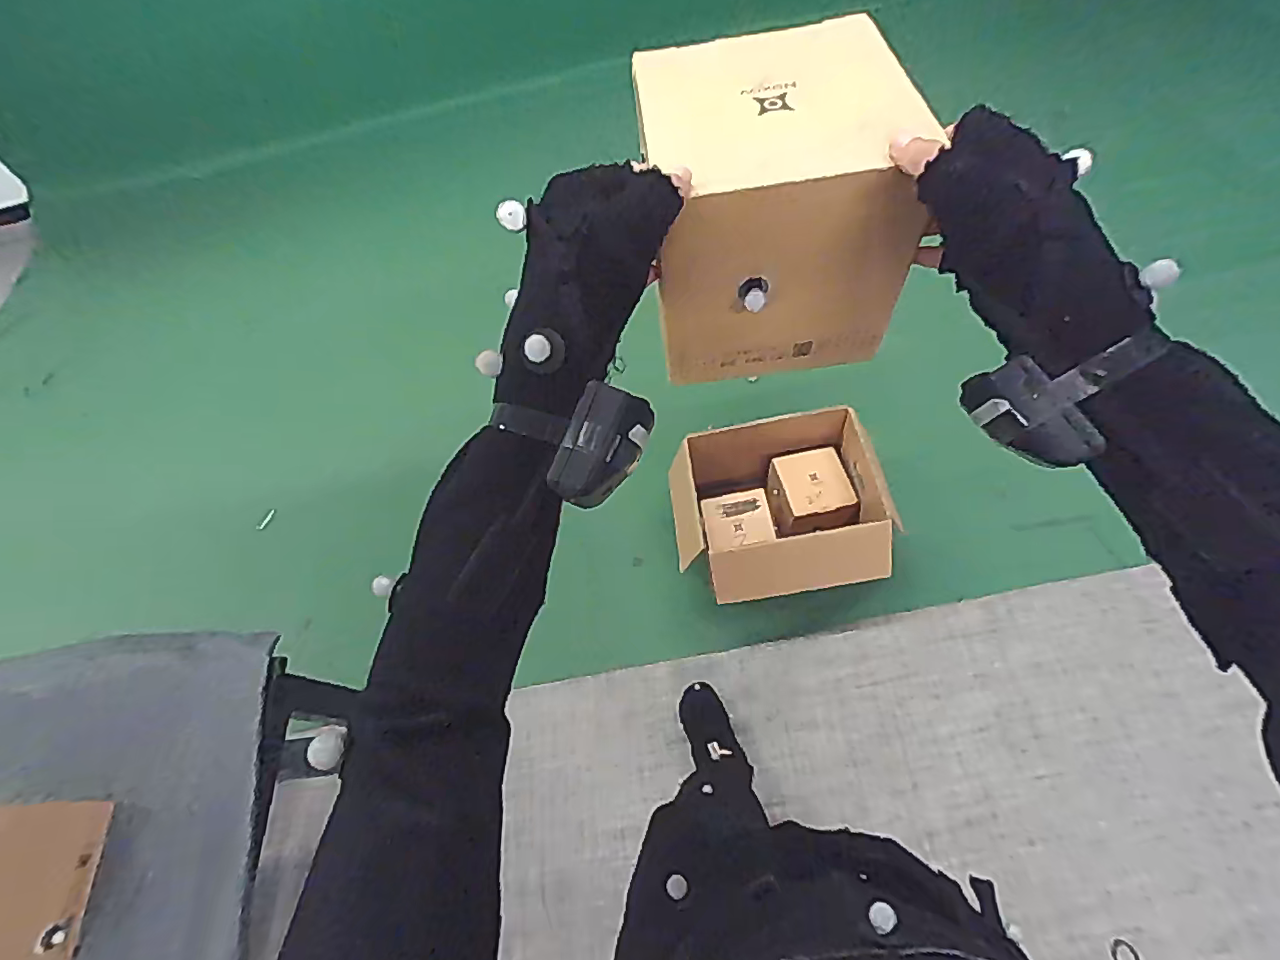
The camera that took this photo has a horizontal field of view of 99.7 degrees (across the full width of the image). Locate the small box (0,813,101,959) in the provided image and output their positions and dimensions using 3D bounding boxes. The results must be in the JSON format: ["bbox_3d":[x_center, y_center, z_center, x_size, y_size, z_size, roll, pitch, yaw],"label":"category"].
[{"bbox_3d":[-0.749,0.463,0.573,0.179,0.176,0.168,-13,59,3],"label":"small box"}]

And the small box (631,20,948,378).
[{"bbox_3d":[0.090,-0.192,0.404,0.168,0.176,0.179,-7,59,3],"label":"small box"}]
